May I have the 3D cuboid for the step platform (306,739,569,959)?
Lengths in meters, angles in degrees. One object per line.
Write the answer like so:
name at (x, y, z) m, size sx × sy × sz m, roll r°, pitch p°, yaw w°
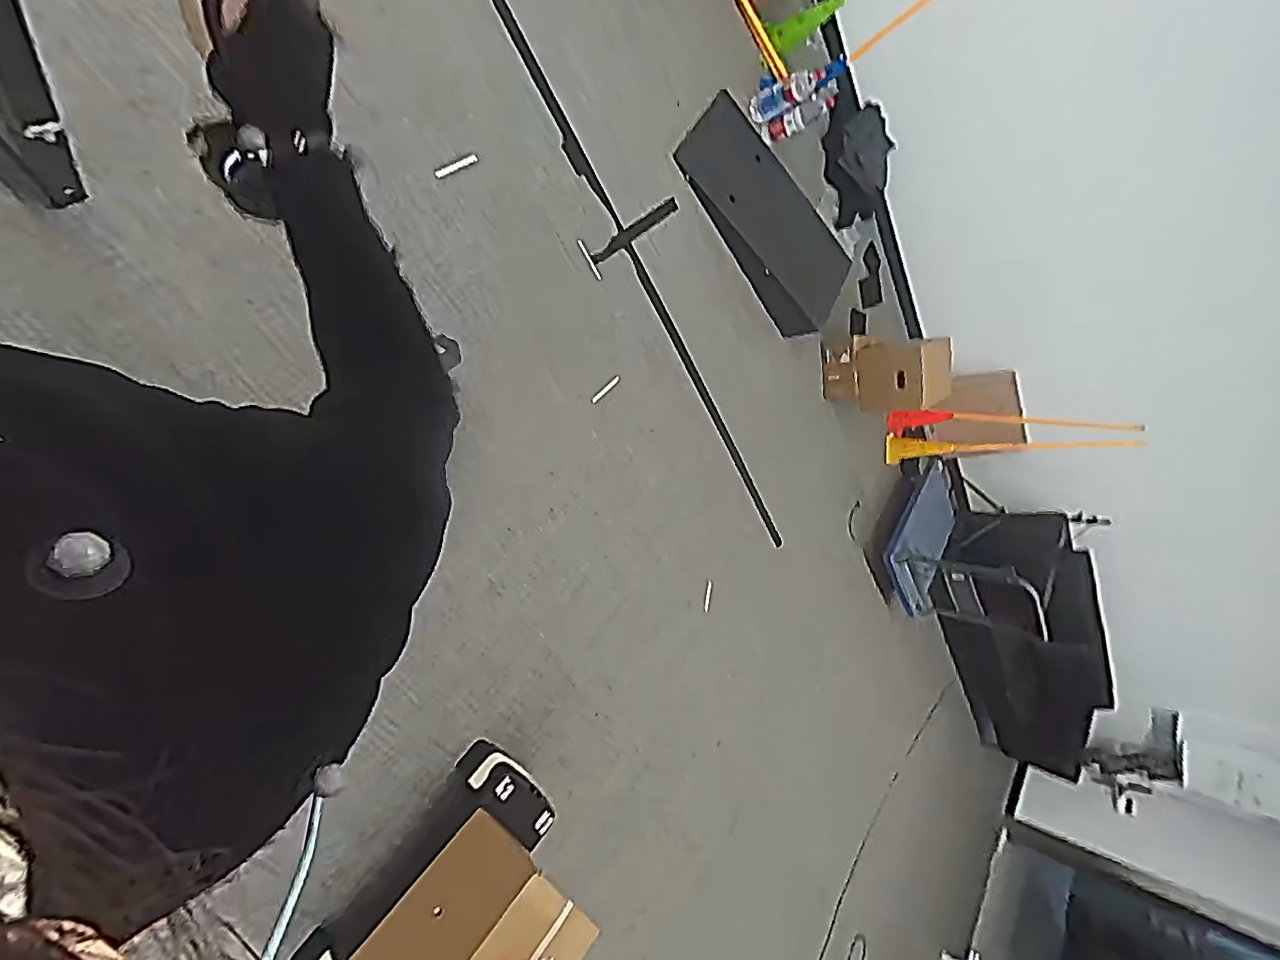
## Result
step platform at (-0.516, 1.091, 1.494) m, size 0.684 × 0.204 × 0.286 m, roll -43°, pitch 118°, yaw -33°

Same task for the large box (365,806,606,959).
large box at (-0.366, 1.118, 1.309) m, size 0.408 × 0.320 × 0.320 m, roll -46°, pitch 120°, yaw -32°
